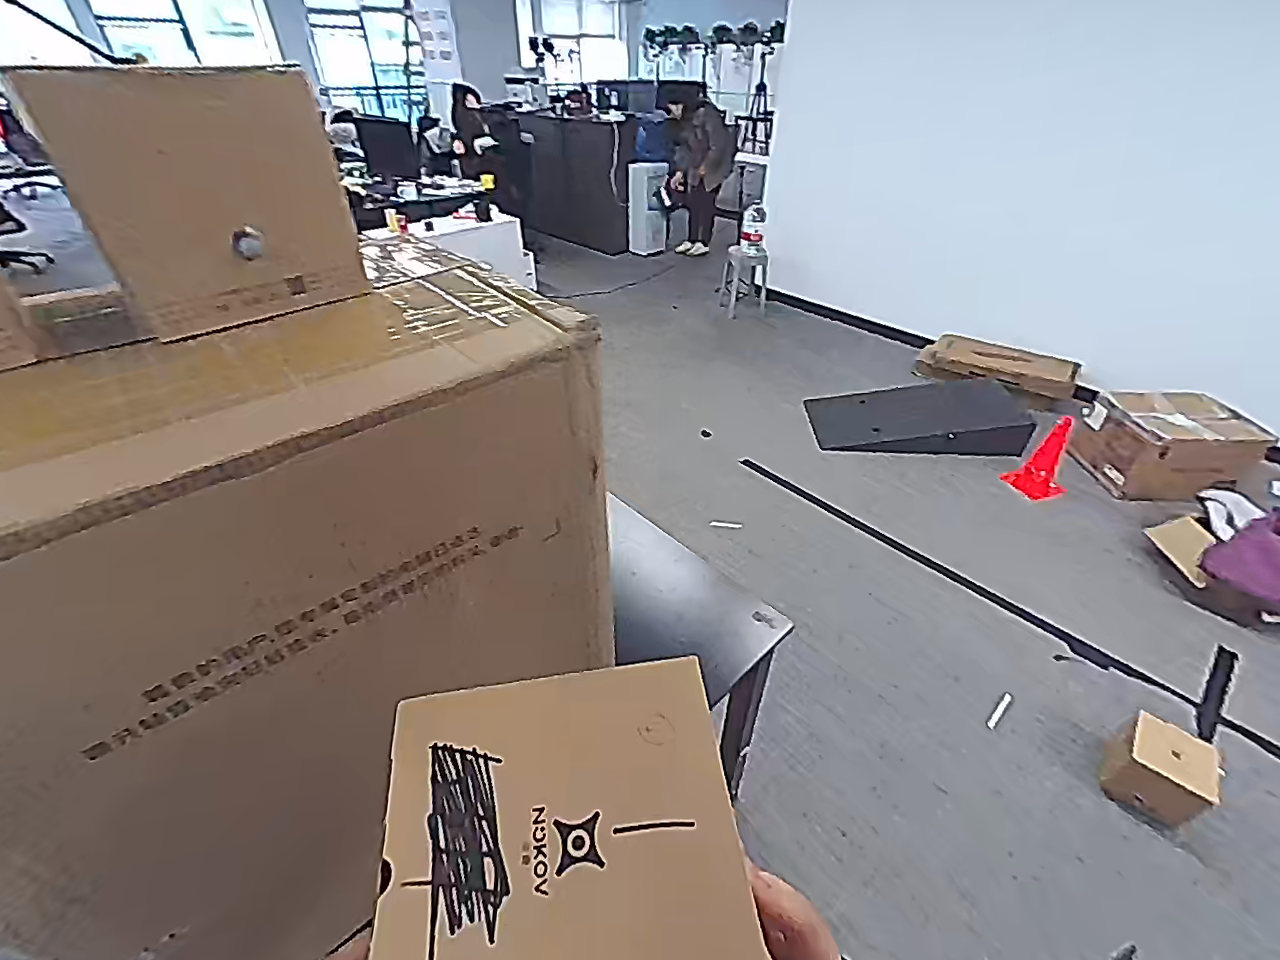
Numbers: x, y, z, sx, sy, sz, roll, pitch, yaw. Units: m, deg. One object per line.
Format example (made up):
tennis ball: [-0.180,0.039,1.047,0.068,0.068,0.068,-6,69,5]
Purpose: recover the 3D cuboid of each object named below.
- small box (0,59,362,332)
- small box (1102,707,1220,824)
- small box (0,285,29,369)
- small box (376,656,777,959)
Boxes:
small box: [-0.366,-0.237,0.448,0.179,0.176,0.168,30,47,35]
small box: [1.347,0.741,1.406,0.168,0.176,0.179,27,47,31]
small box: [-0.537,-0.146,0.330,0.179,0.176,0.168,29,45,33]
small box: [-0.032,0.227,0.322,0.179,0.176,0.168,-7,51,-5]
